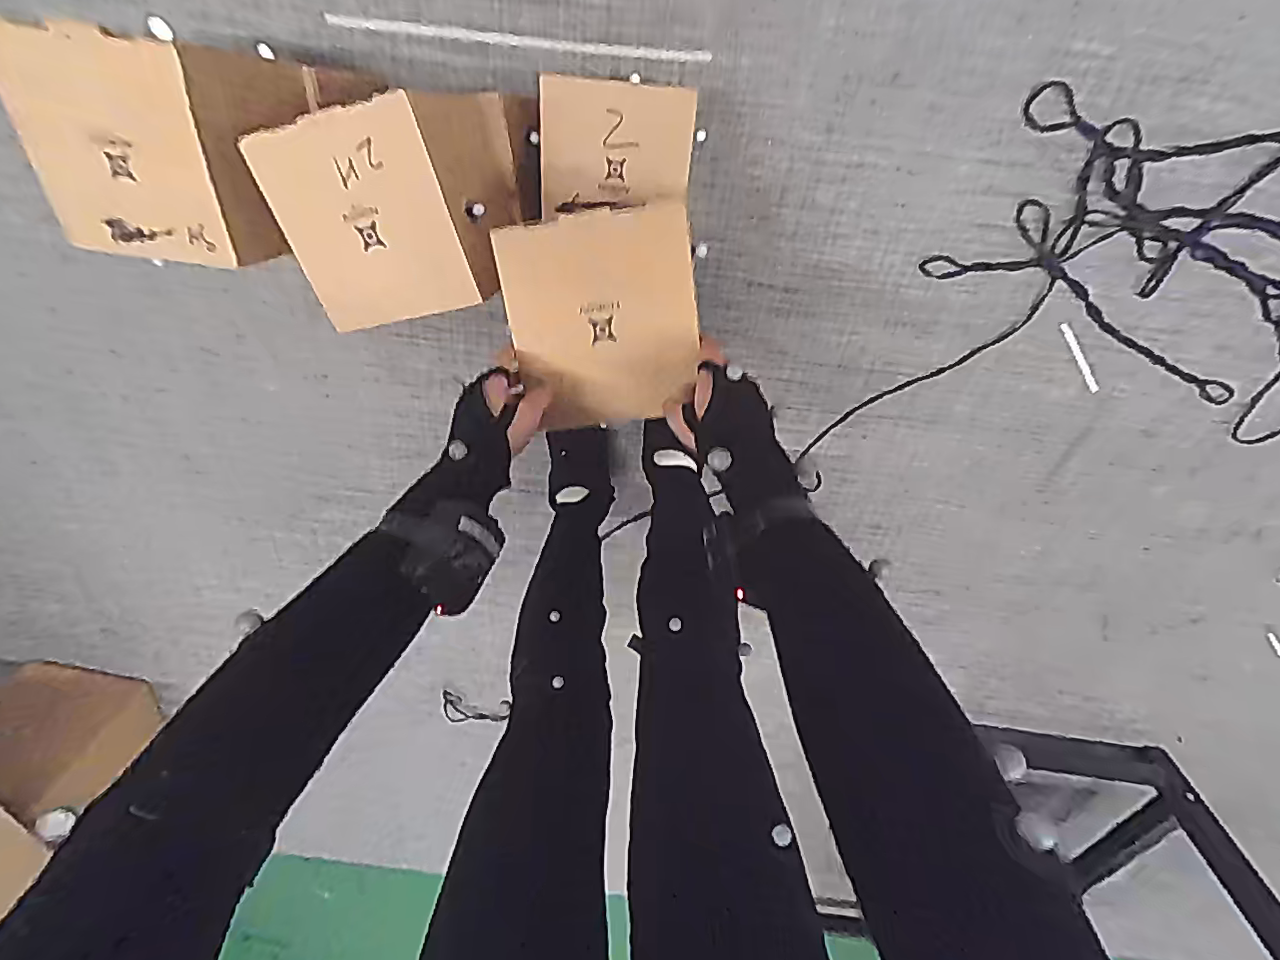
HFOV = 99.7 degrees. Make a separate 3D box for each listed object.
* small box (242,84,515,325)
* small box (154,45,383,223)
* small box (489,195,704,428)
[{"bbox_3d":[-0.239,-0.282,0.559,0.168,0.176,0.179,-8,121,10],"label":"small box"},{"bbox_3d":[-0.429,-0.425,0.679,0.179,0.176,0.168,7,123,2],"label":"small box"},{"bbox_3d":[-0.026,-0.162,0.538,0.168,0.176,0.179,-6,107,8],"label":"small box"}]
